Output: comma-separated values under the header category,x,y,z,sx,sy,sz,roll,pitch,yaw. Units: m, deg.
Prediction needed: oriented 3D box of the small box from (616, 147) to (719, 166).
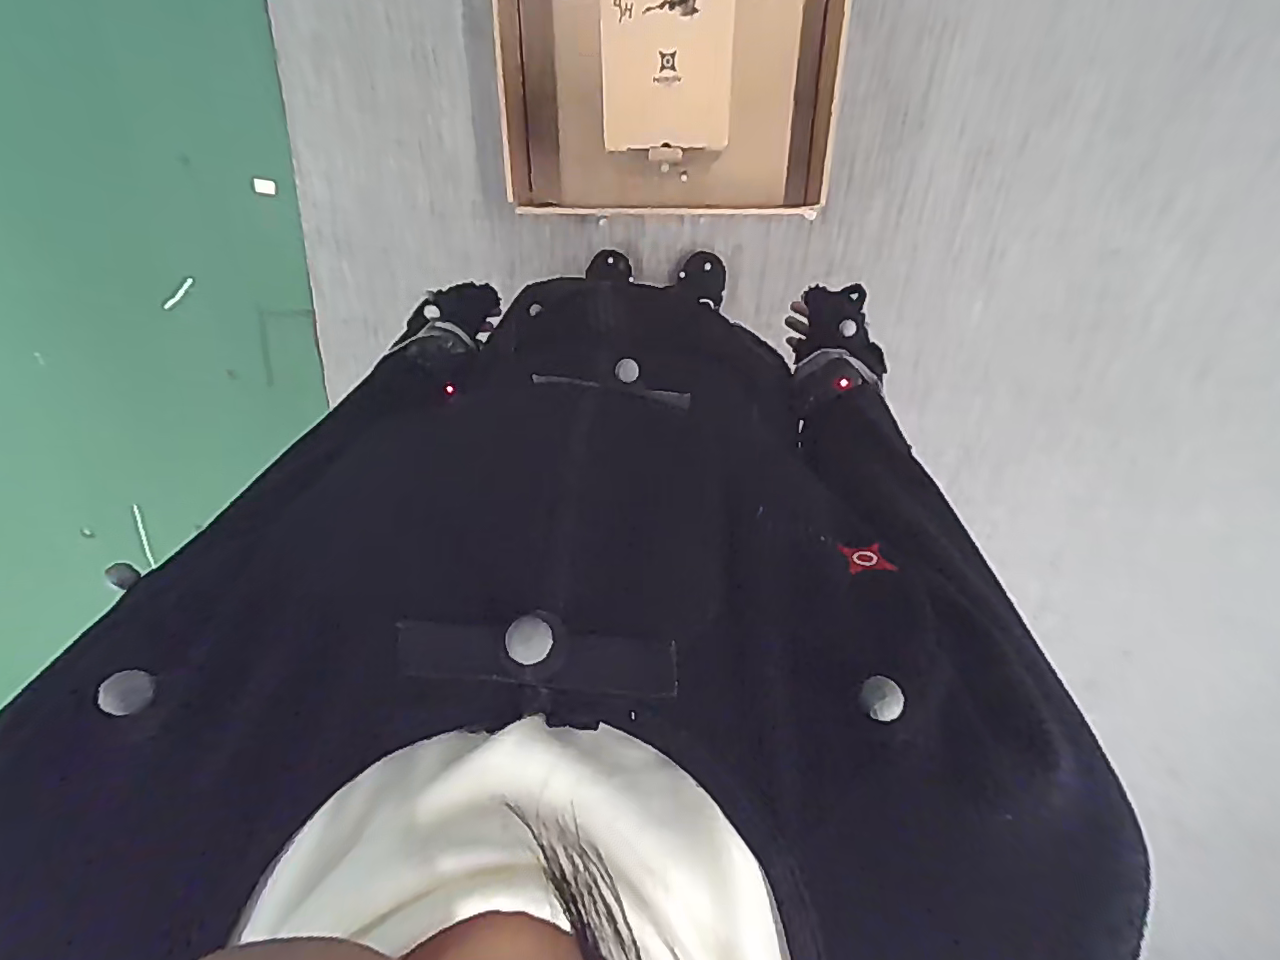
category,x,y,z,sx,sy,sz,roll,pitch,yaw
small box,0.046,-0.622,0.887,0.168,0.176,0.179,-2,115,4

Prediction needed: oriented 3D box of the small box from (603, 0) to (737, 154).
category,x,y,z,sx,sy,sz,roll,pitch,yaw
small box,0.040,-0.561,0.753,0.168,0.176,0.179,1,115,2
